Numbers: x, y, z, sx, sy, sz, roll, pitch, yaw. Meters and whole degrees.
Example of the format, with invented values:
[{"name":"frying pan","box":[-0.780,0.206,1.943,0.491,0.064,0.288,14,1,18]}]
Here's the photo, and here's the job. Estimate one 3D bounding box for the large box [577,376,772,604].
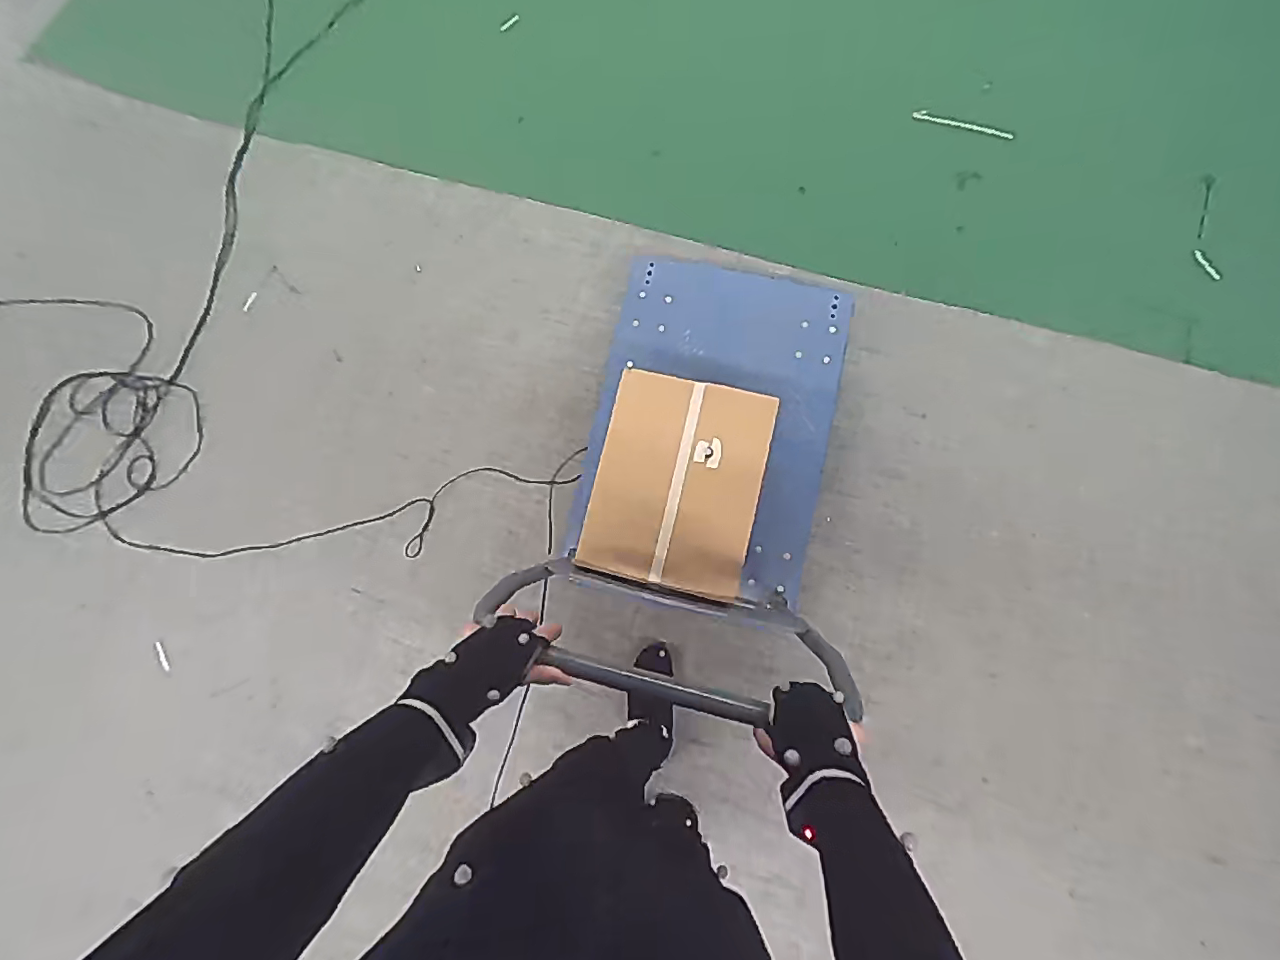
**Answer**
[{"name":"large box","box":[0.080,0.037,1.192,0.320,0.320,0.408,13,82,6]}]
